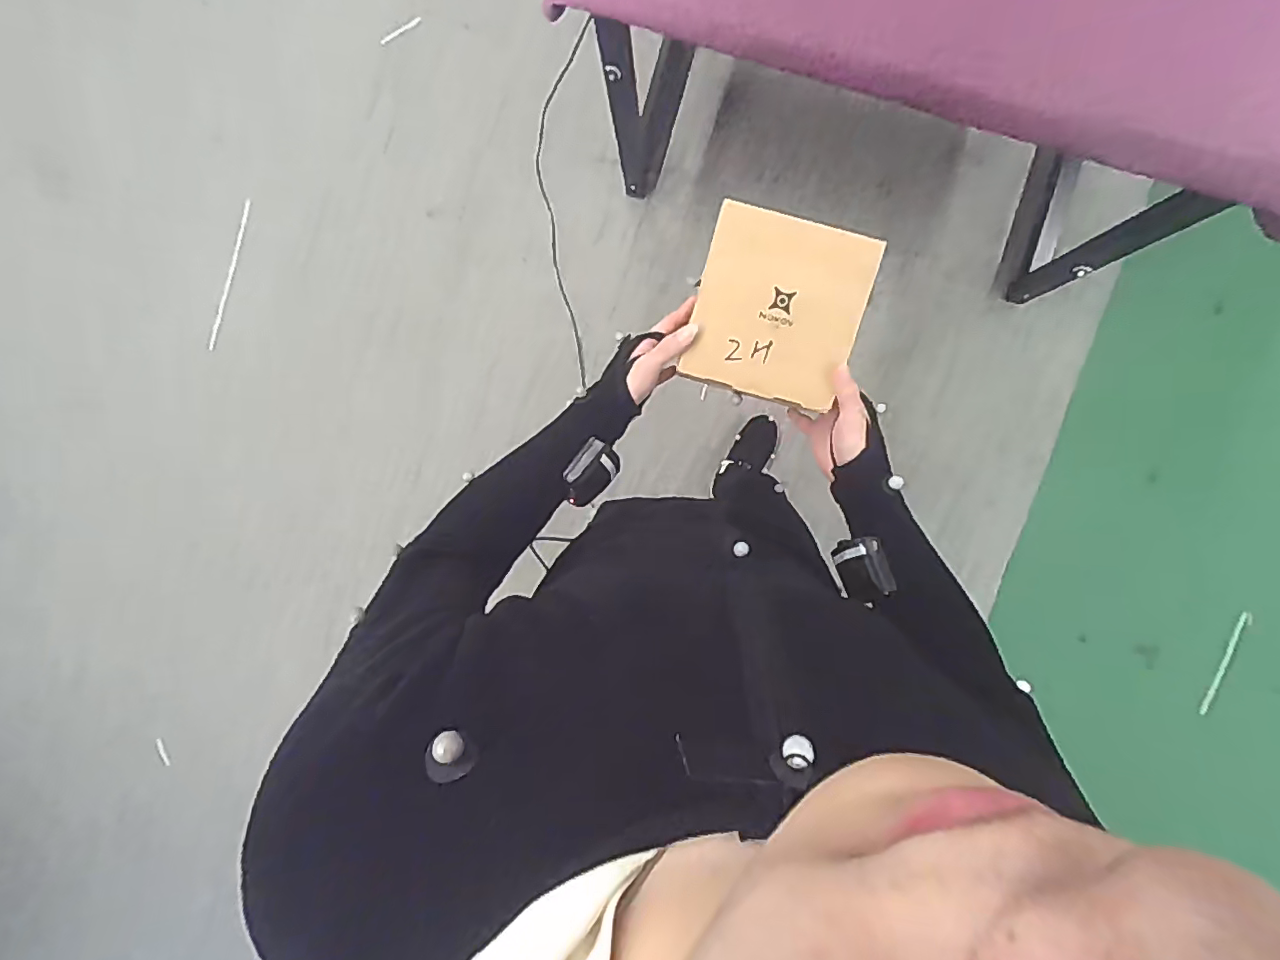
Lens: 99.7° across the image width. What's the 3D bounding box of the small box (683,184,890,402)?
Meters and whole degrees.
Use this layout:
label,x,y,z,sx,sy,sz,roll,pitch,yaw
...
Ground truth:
label,x,y,z,sx,sy,sz,roll,pitch,yaw
small box,0.147,-0.197,0.616,0.168,0.176,0.179,16,101,1
